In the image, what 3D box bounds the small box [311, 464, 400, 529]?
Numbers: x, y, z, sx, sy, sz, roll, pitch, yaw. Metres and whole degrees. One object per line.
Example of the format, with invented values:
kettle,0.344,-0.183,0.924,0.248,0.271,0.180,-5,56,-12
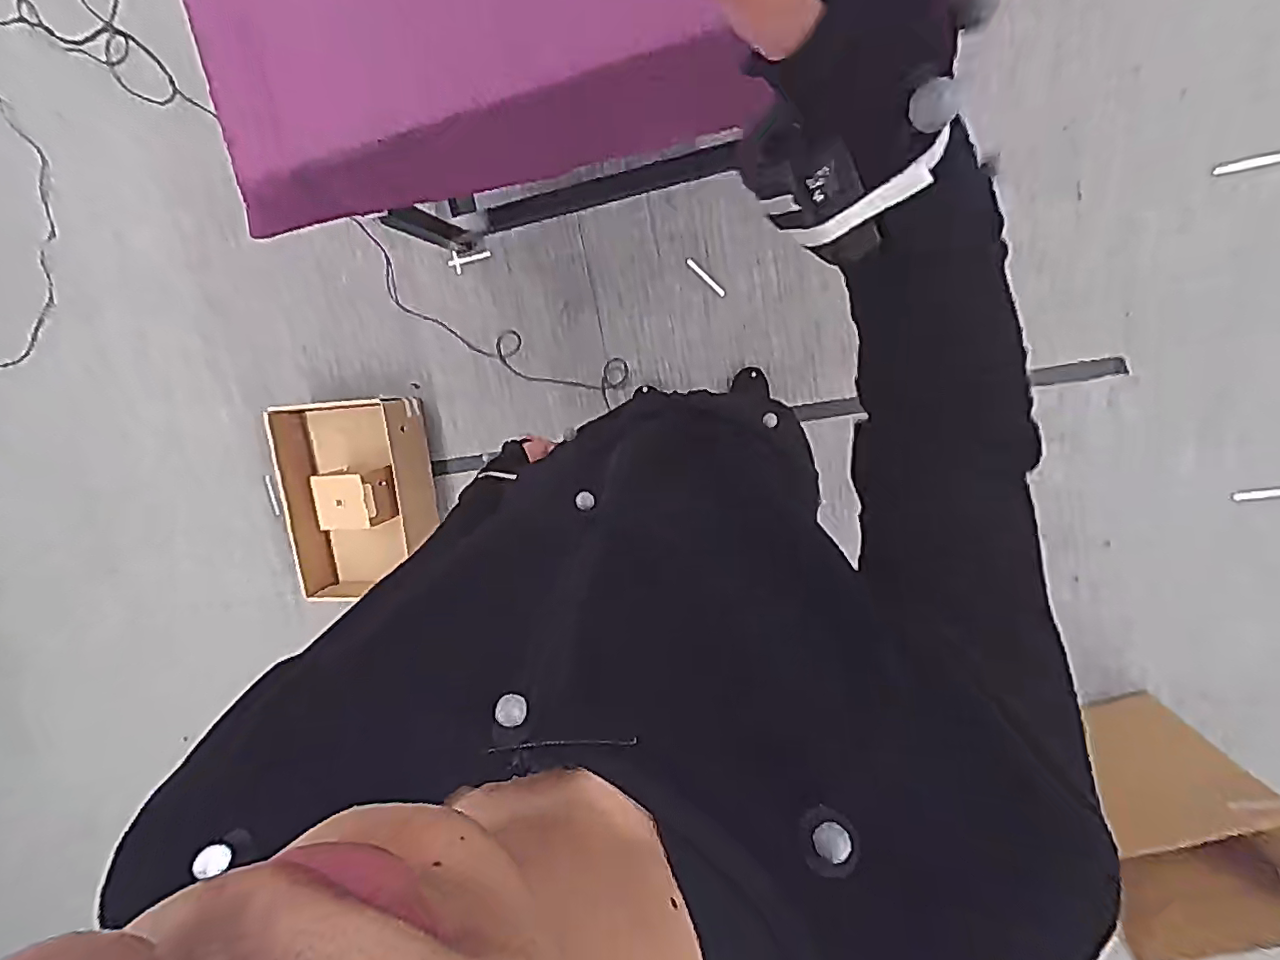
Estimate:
small box,-0.866,0.047,1.671,0.179,0.176,0.168,-3,101,10
